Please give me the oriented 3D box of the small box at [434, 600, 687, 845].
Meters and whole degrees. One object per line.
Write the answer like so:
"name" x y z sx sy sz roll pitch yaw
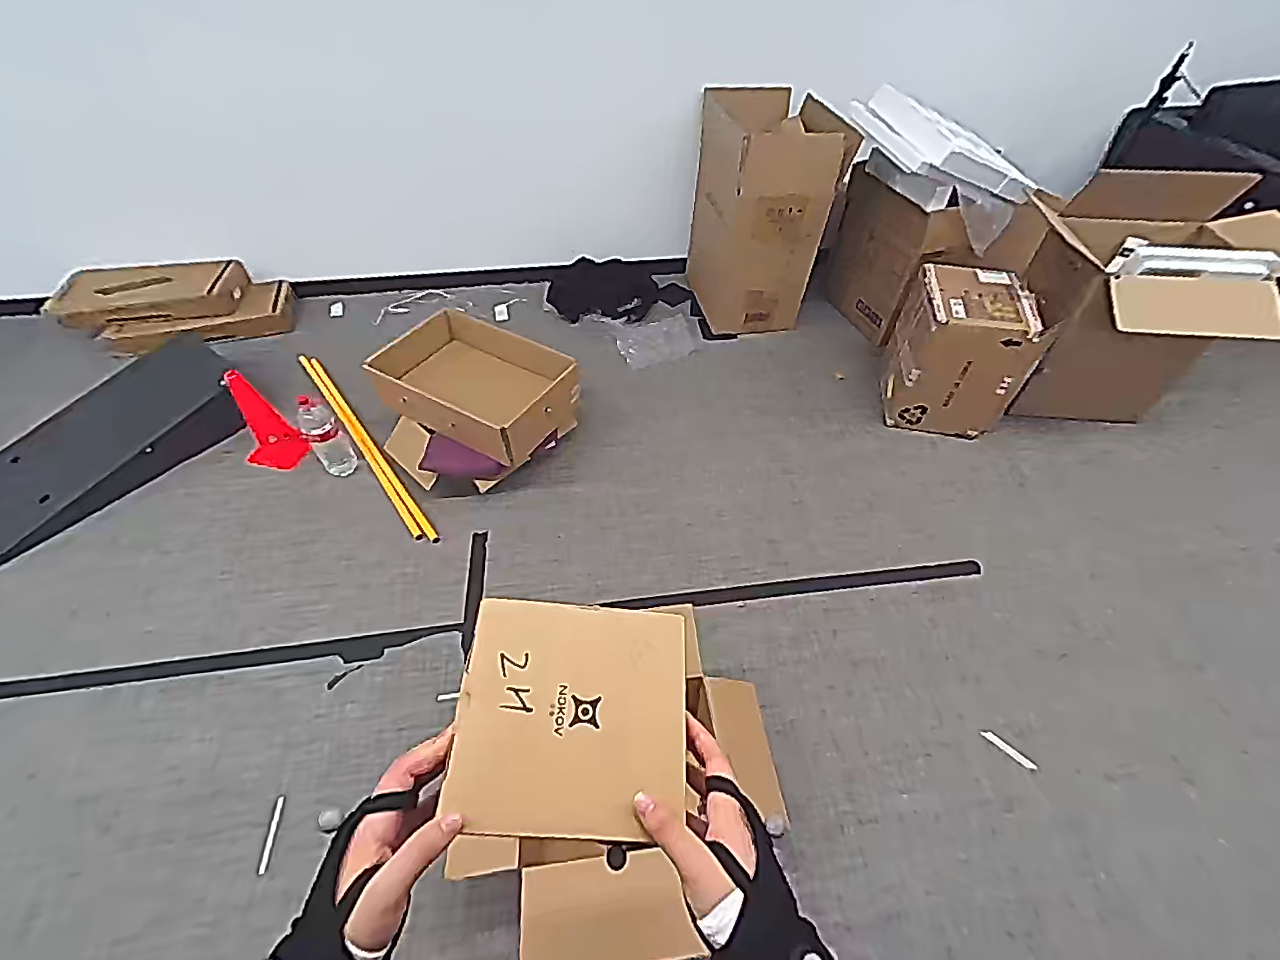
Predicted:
"small box" -0.060 0.220 0.482 0.179 0.176 0.168 6 56 -4
